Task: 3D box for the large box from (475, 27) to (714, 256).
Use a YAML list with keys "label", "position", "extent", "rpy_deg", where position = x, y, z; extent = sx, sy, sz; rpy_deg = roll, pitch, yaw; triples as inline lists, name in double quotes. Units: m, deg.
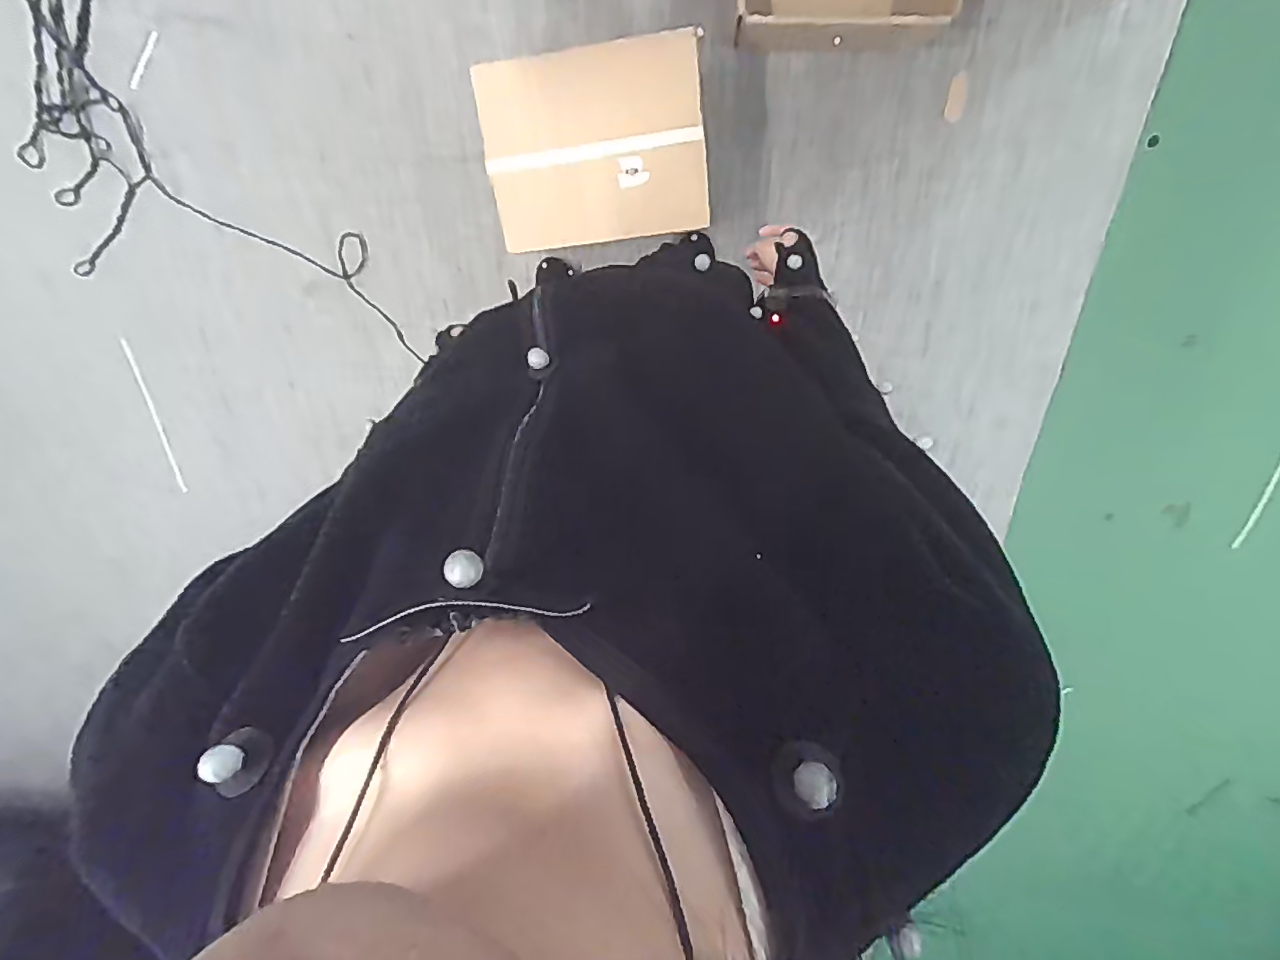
- label: "large box"
  position: [-0.068, -0.657, 1.118]
  extent: [0.408, 0.320, 0.320]
  rpy_deg: [-5, 114, 5]
